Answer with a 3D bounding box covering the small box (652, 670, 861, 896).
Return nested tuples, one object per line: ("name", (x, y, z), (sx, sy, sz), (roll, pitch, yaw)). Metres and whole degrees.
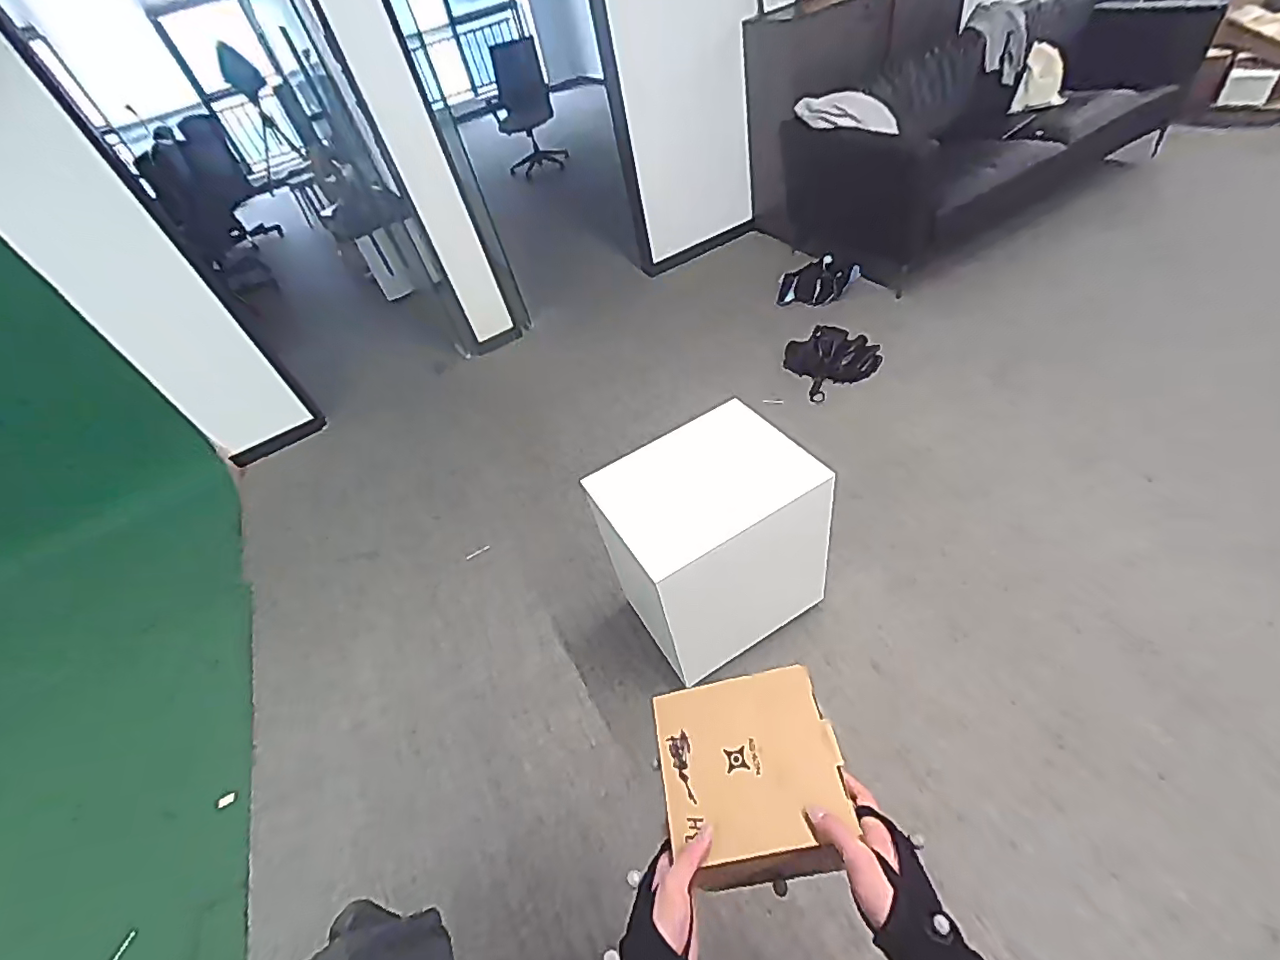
("small box", (0.122, 0.335, 0.595), (0.179, 0.176, 0.168), (-14, 44, 5))
